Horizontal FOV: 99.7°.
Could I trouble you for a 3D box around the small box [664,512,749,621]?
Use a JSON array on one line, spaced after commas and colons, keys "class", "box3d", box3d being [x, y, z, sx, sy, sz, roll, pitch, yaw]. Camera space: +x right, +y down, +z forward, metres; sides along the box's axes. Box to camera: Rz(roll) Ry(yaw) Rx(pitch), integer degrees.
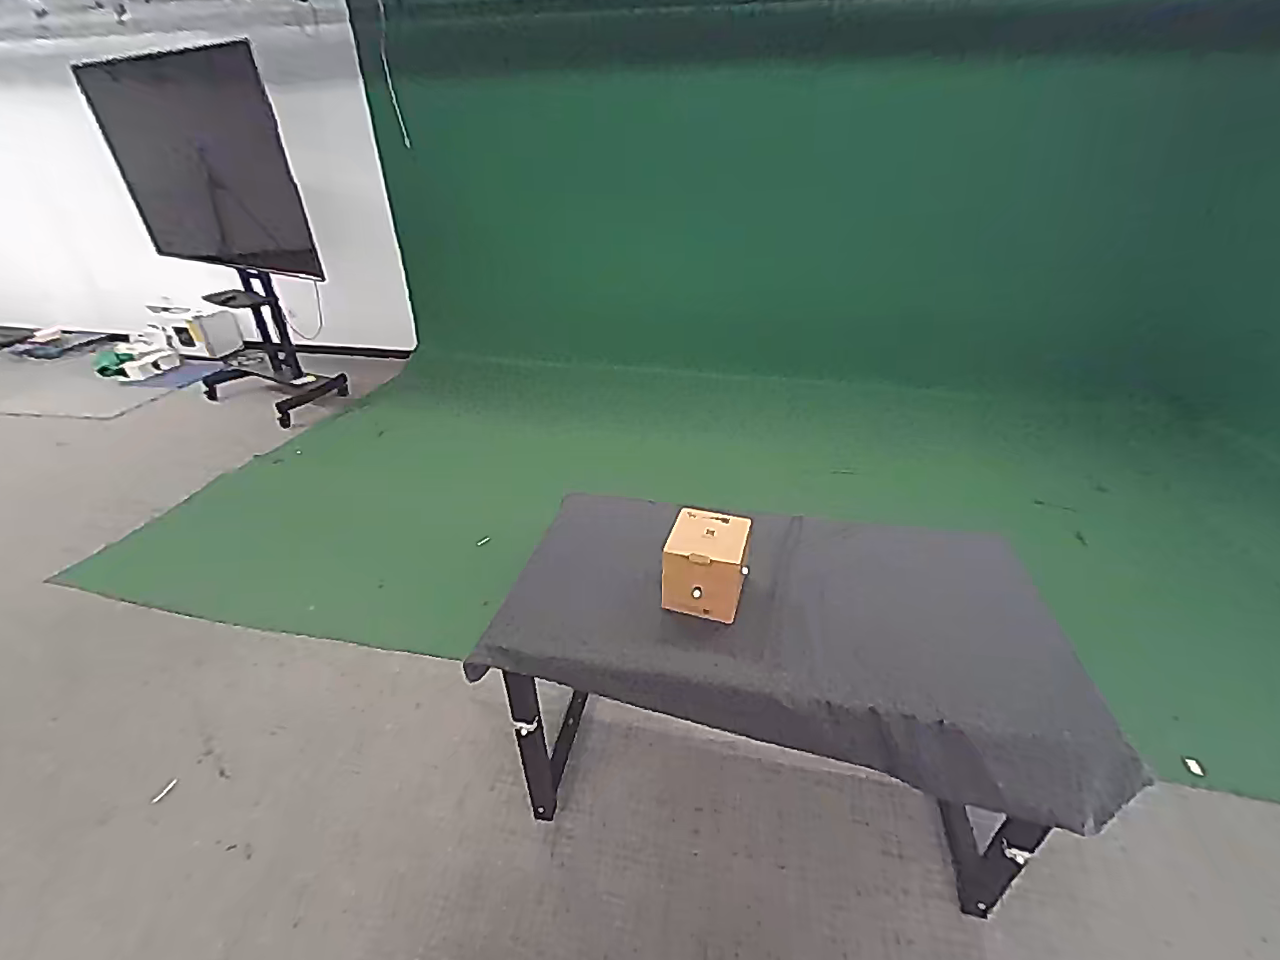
[{"class": "small box", "box3d": [0.155, 0.197, 1.236, 0.168, 0.176, 0.179, 7, 31, 14]}]
